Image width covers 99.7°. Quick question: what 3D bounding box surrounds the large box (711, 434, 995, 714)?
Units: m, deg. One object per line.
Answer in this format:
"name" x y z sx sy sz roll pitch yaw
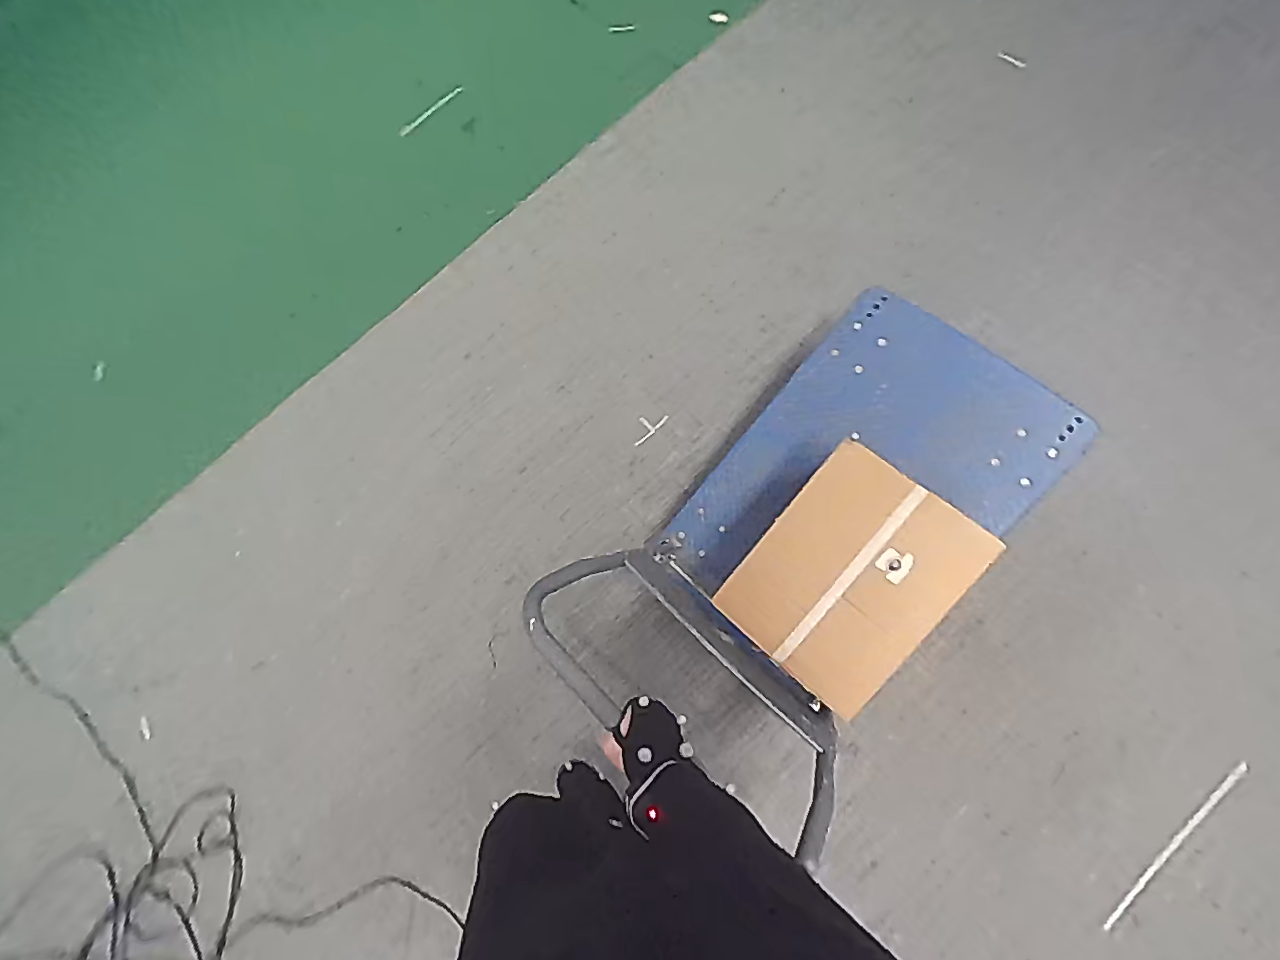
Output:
"large box" 0.407 0.180 1.101 0.320 0.320 0.408 41 96 17
